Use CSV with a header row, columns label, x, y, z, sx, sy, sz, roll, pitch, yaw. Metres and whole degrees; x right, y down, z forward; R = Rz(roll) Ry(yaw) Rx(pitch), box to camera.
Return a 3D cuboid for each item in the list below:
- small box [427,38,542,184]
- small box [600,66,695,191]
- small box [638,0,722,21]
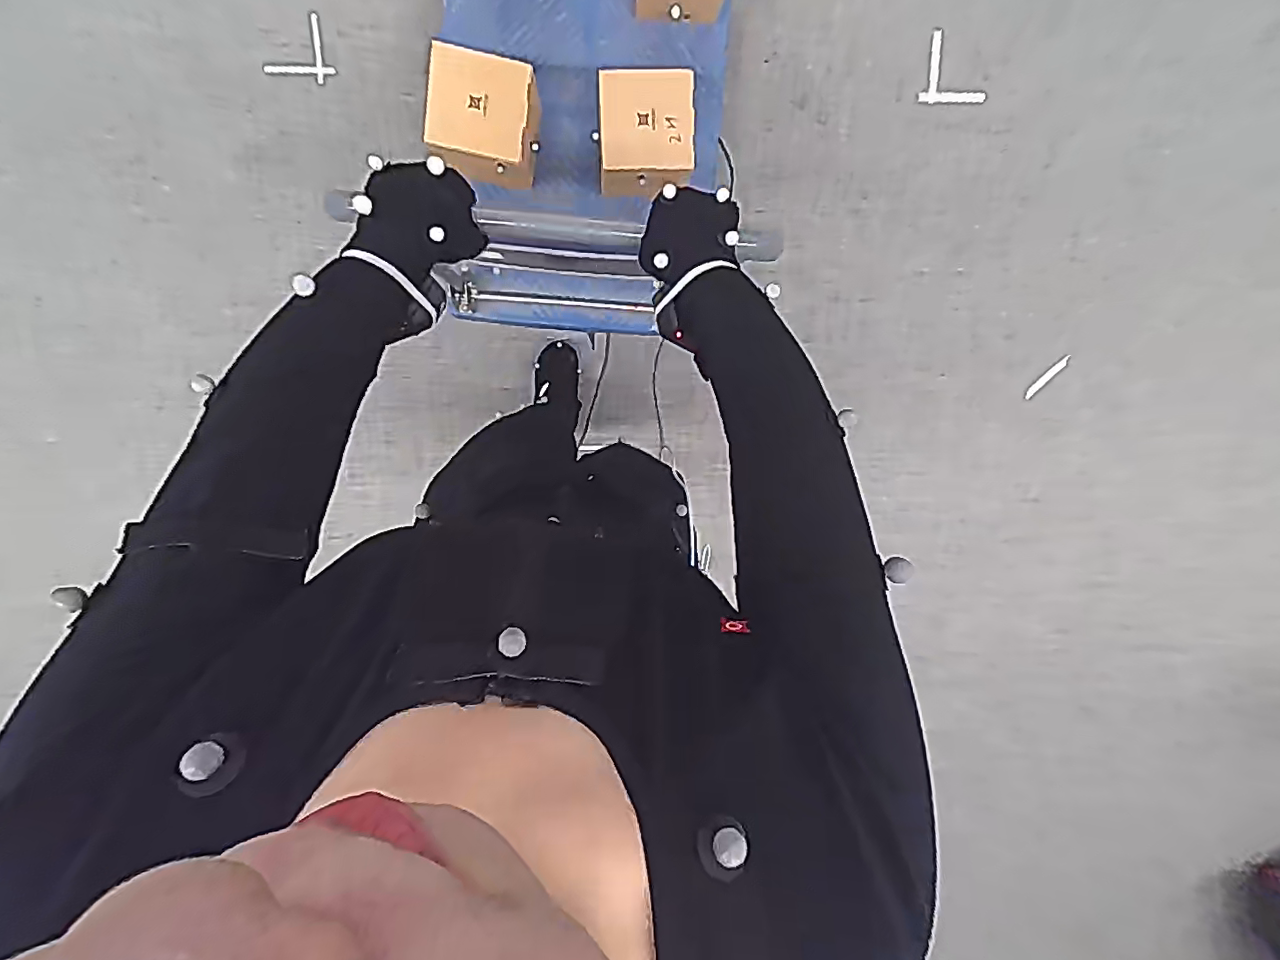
label,x,y,z,sx,sy,sz,roll,pitch,yaw
small box,-0.294,-0.701,1.050,0.179,0.176,0.168,8,101,-8
small box,0.011,-0.688,1.077,0.179,0.176,0.168,-2,103,-4
small box,0.083,-1.012,1.009,0.168,0.176,0.179,-1,104,-4
